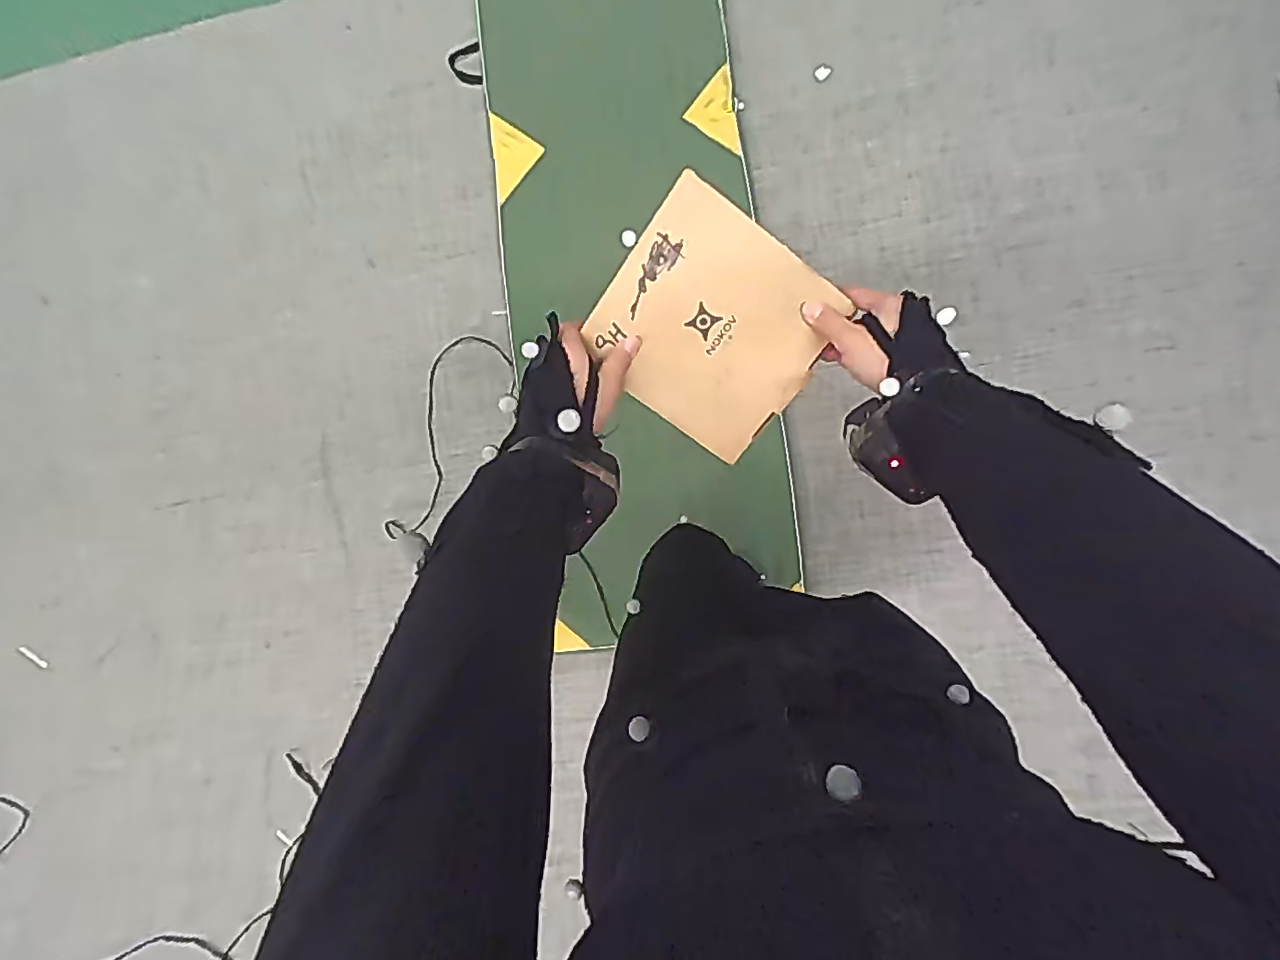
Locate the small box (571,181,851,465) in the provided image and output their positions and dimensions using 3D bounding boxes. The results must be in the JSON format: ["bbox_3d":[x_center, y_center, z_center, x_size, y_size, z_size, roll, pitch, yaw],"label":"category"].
[{"bbox_3d":[0.059,-0.146,0.521,0.179,0.176,0.168,35,106,-9],"label":"small box"}]
